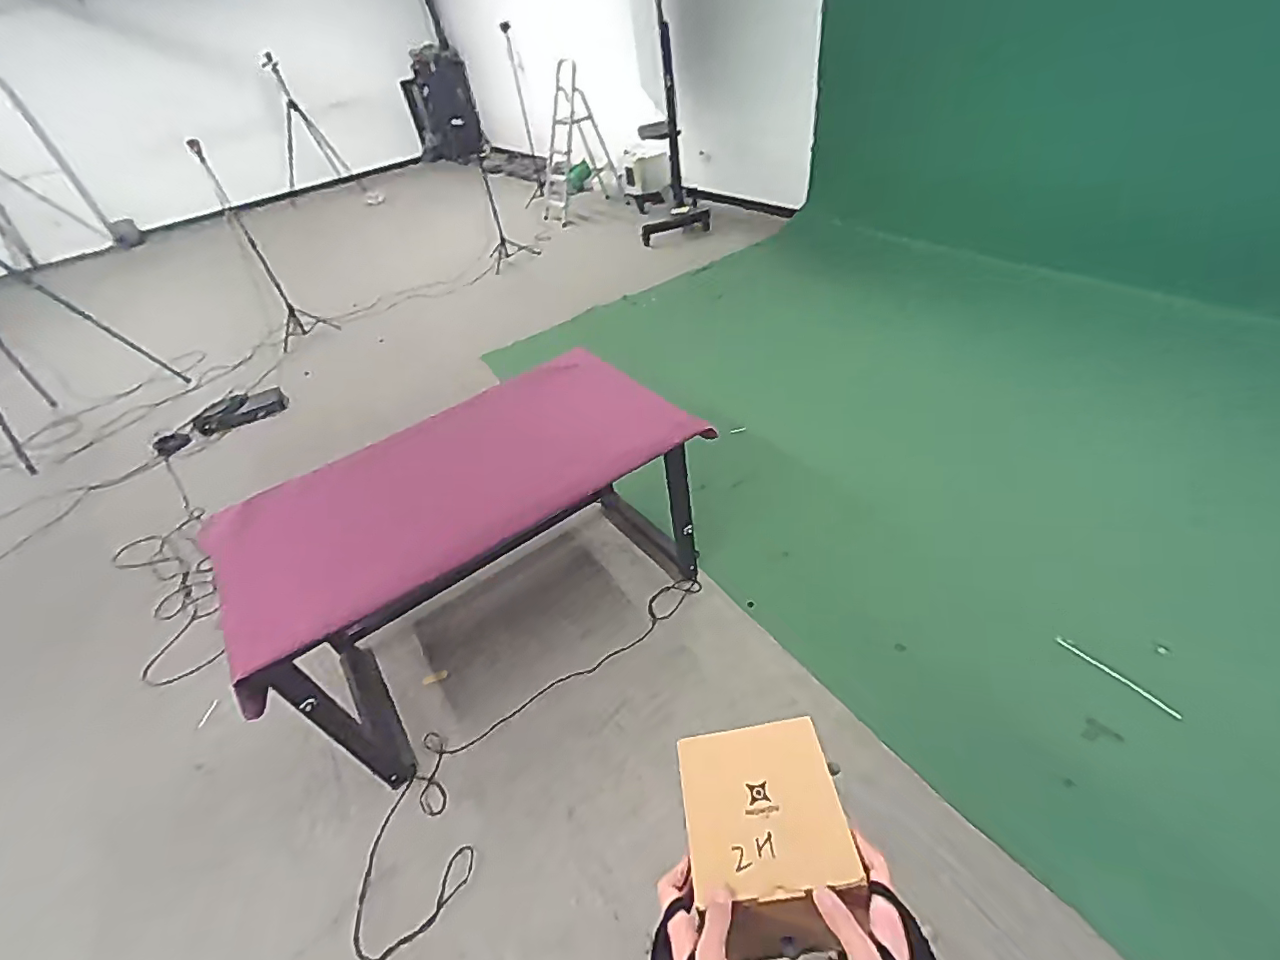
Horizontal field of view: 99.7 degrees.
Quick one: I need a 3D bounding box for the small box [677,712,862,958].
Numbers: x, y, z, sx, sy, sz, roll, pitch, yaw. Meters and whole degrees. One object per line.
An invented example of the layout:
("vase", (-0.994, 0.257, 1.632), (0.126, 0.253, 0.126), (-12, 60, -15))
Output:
("small box", (0.144, 0.407, 0.628), (0.168, 0.176, 0.179), (-13, 32, 5))
